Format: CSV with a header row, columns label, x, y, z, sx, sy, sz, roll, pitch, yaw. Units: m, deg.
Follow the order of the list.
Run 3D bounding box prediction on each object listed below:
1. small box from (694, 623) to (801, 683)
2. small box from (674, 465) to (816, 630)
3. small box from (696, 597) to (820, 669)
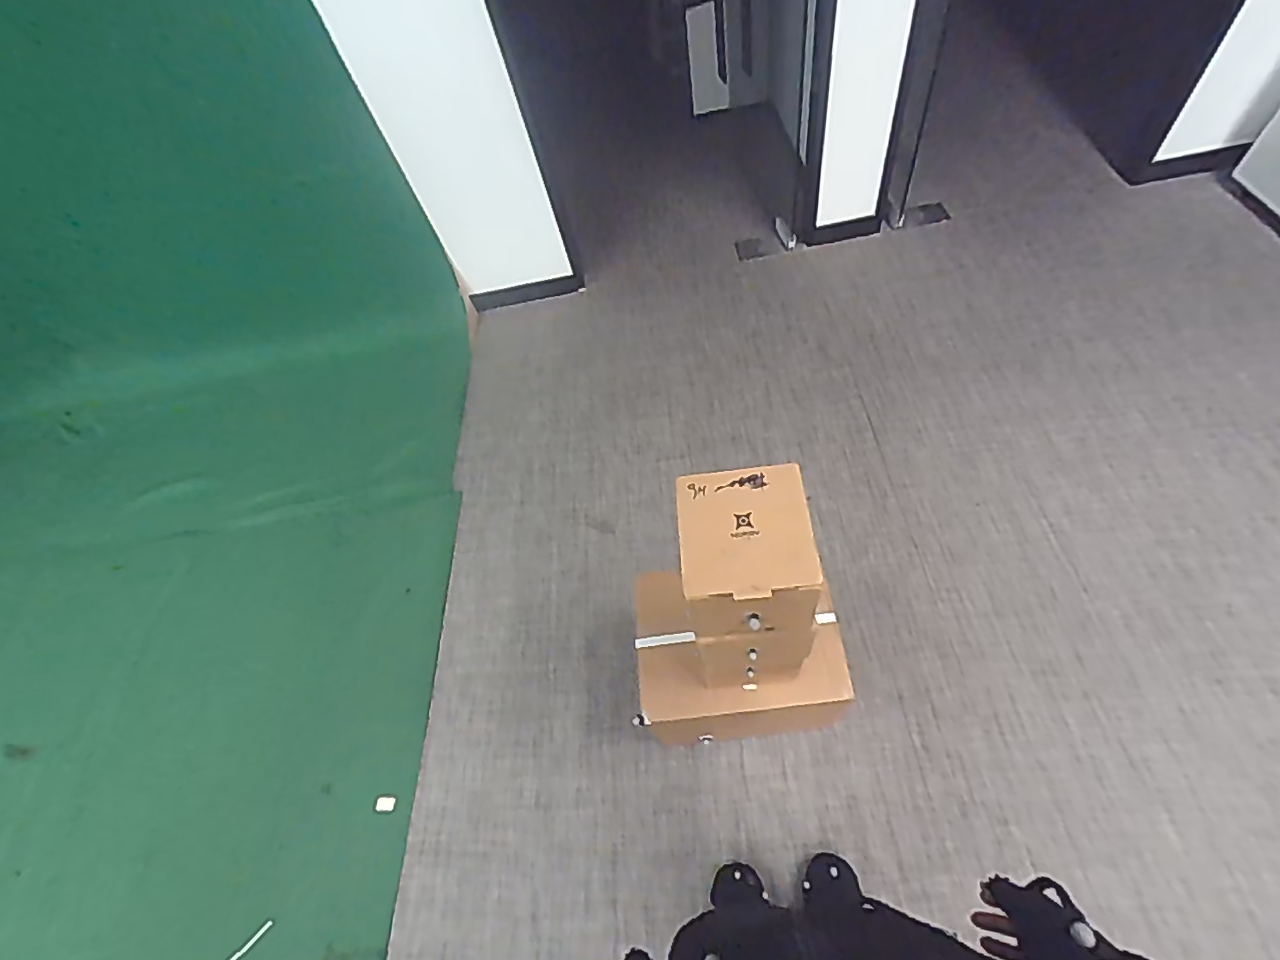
label,x,y,z,sx,sy,sz,roll,pitch,yaw
small box,0.195,0.278,1.019,0.179,0.176,0.168,-7,58,6
small box,0.142,0.103,0.748,0.168,0.176,0.179,-6,58,9
small box,0.174,0.196,0.879,0.179,0.176,0.168,-11,57,4
